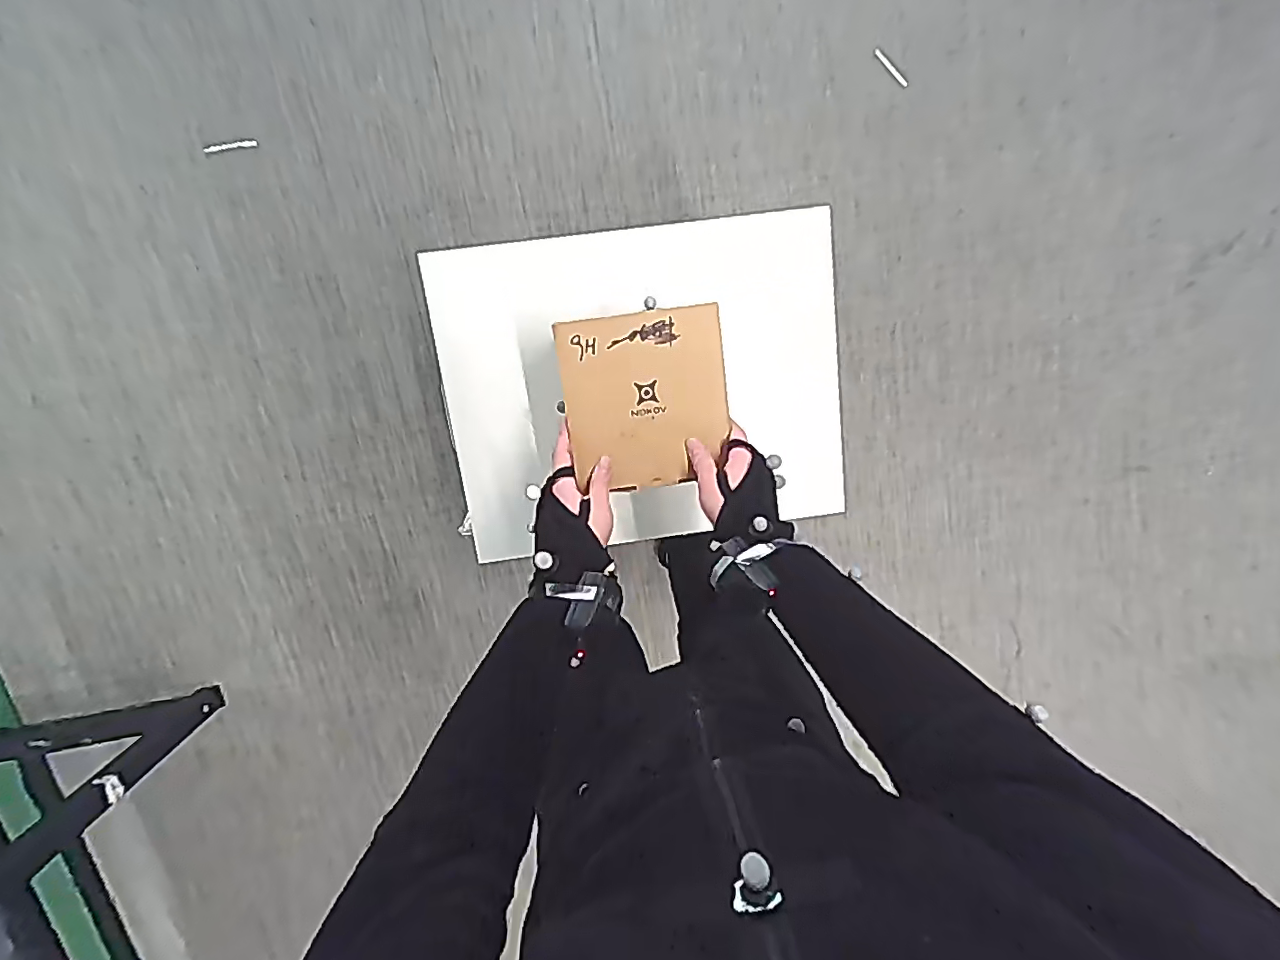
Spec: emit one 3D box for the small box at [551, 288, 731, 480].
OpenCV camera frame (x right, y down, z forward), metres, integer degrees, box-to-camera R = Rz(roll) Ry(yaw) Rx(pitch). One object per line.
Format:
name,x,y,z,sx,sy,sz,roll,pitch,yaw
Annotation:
small box,0.001,-0.112,0.629,0.168,0.176,0.179,-10,102,-2
